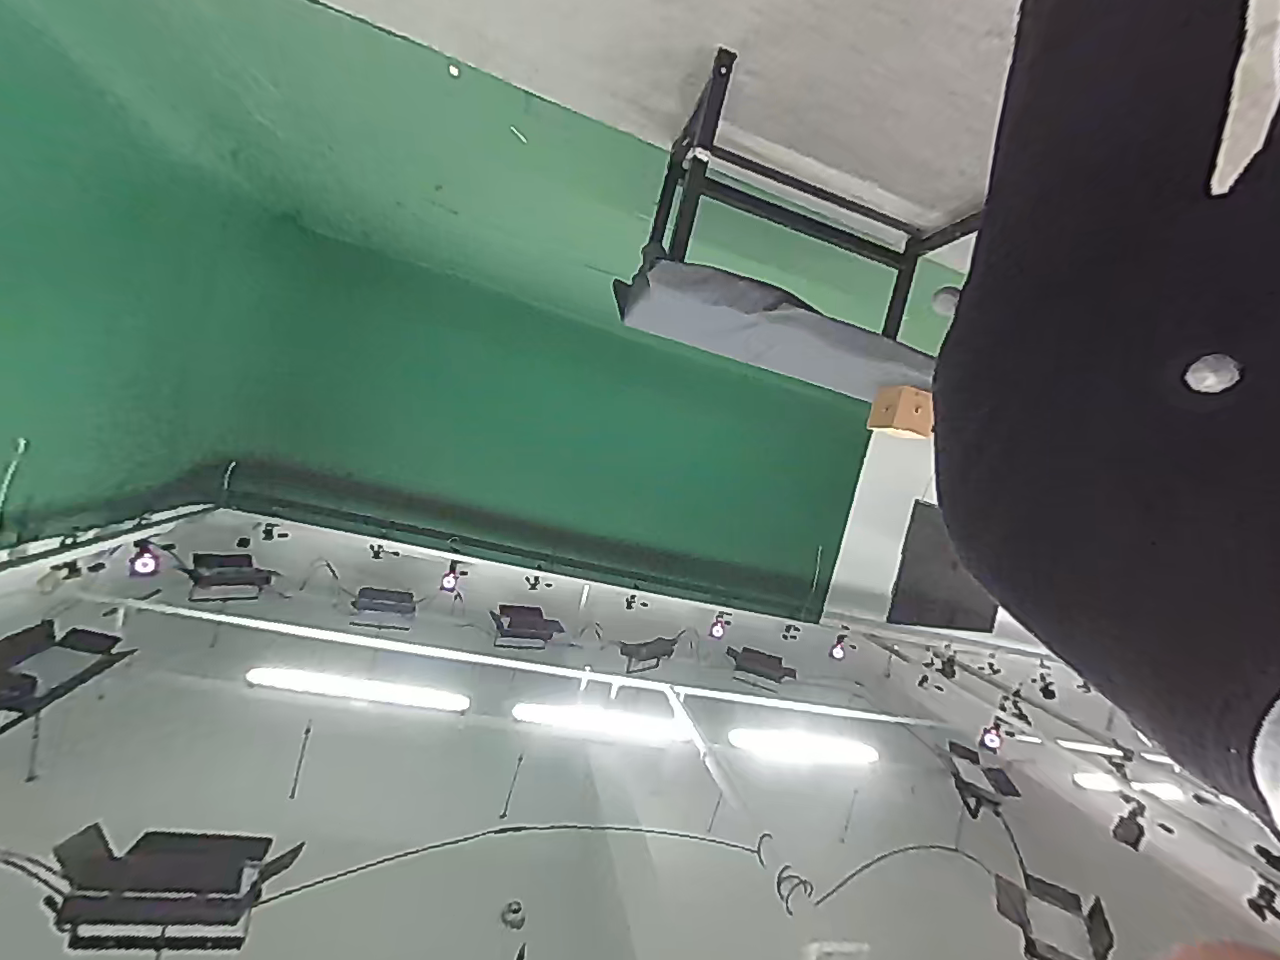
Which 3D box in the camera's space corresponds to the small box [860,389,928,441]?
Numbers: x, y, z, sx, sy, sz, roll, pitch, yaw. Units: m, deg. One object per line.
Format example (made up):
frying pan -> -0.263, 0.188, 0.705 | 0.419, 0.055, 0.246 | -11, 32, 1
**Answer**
small box -> 1.008, -0.257, 2.140 | 0.168, 0.176, 0.179 | 15, -179, -11
